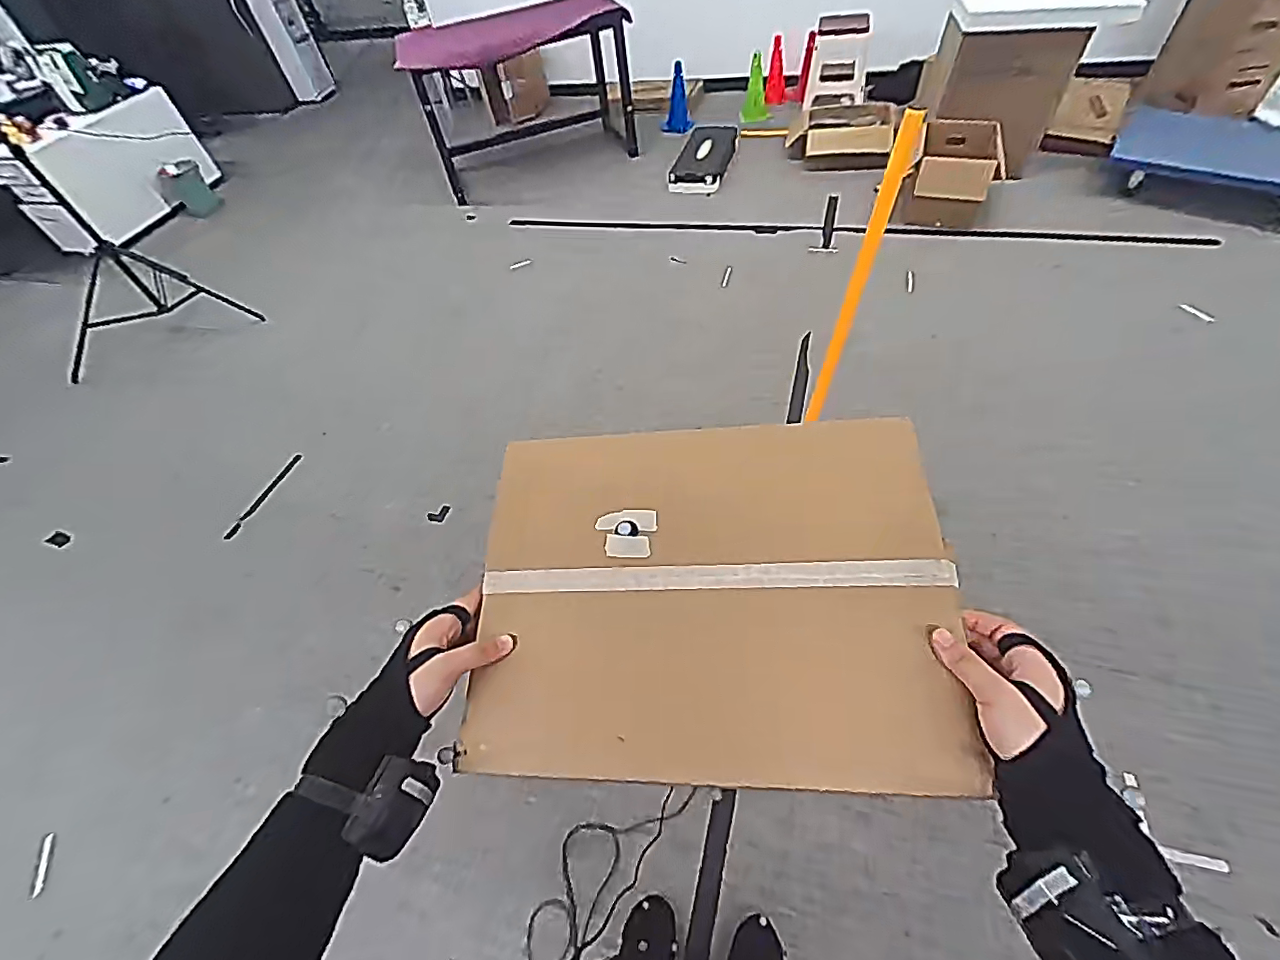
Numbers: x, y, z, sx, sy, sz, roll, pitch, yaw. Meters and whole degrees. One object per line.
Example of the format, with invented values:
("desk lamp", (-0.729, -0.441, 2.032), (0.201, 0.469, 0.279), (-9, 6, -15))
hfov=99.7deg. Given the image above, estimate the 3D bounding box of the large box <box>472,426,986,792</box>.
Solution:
("large box", (0.085, 0.165, 0.614), (0.408, 0.320, 0.320), (-4, 61, 11))
